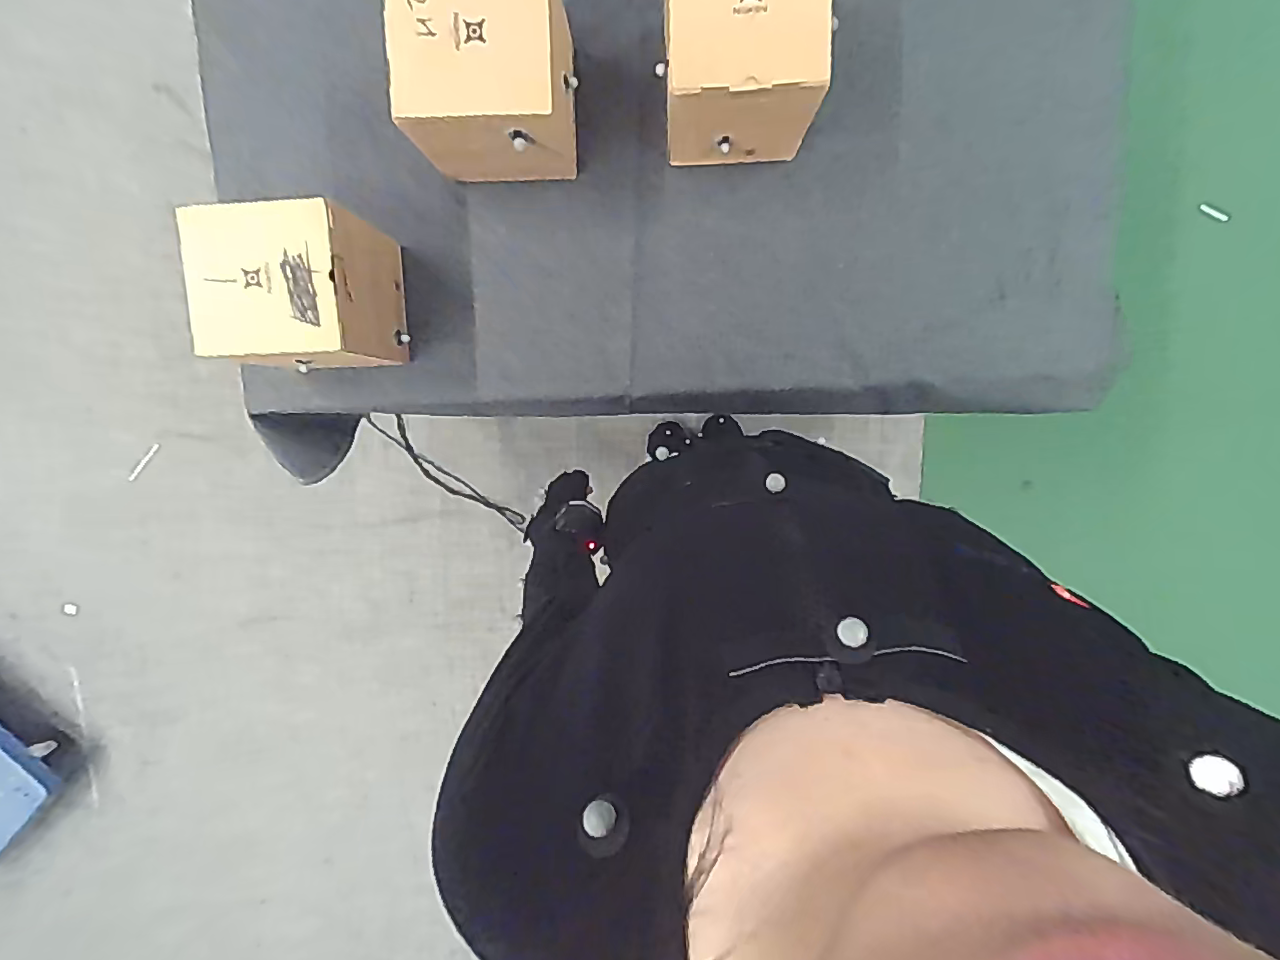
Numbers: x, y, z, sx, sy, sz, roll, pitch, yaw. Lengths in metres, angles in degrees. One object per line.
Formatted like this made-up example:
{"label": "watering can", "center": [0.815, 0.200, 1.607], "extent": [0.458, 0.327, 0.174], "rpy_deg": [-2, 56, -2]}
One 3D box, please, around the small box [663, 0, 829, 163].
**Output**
{"label": "small box", "center": [0.111, -0.500, 0.628], "extent": [0.168, 0.176, 0.179], "rpy_deg": [-2, 98, 2]}

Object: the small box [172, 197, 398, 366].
{"label": "small box", "center": [-0.422, -0.235, 0.678], "extent": [0.179, 0.176, 0.168], "rpy_deg": [-2, 97, 3]}

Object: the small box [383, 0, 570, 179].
{"label": "small box", "center": [-0.177, -0.476, 0.638], "extent": [0.179, 0.176, 0.168], "rpy_deg": [0, 98, 2]}
